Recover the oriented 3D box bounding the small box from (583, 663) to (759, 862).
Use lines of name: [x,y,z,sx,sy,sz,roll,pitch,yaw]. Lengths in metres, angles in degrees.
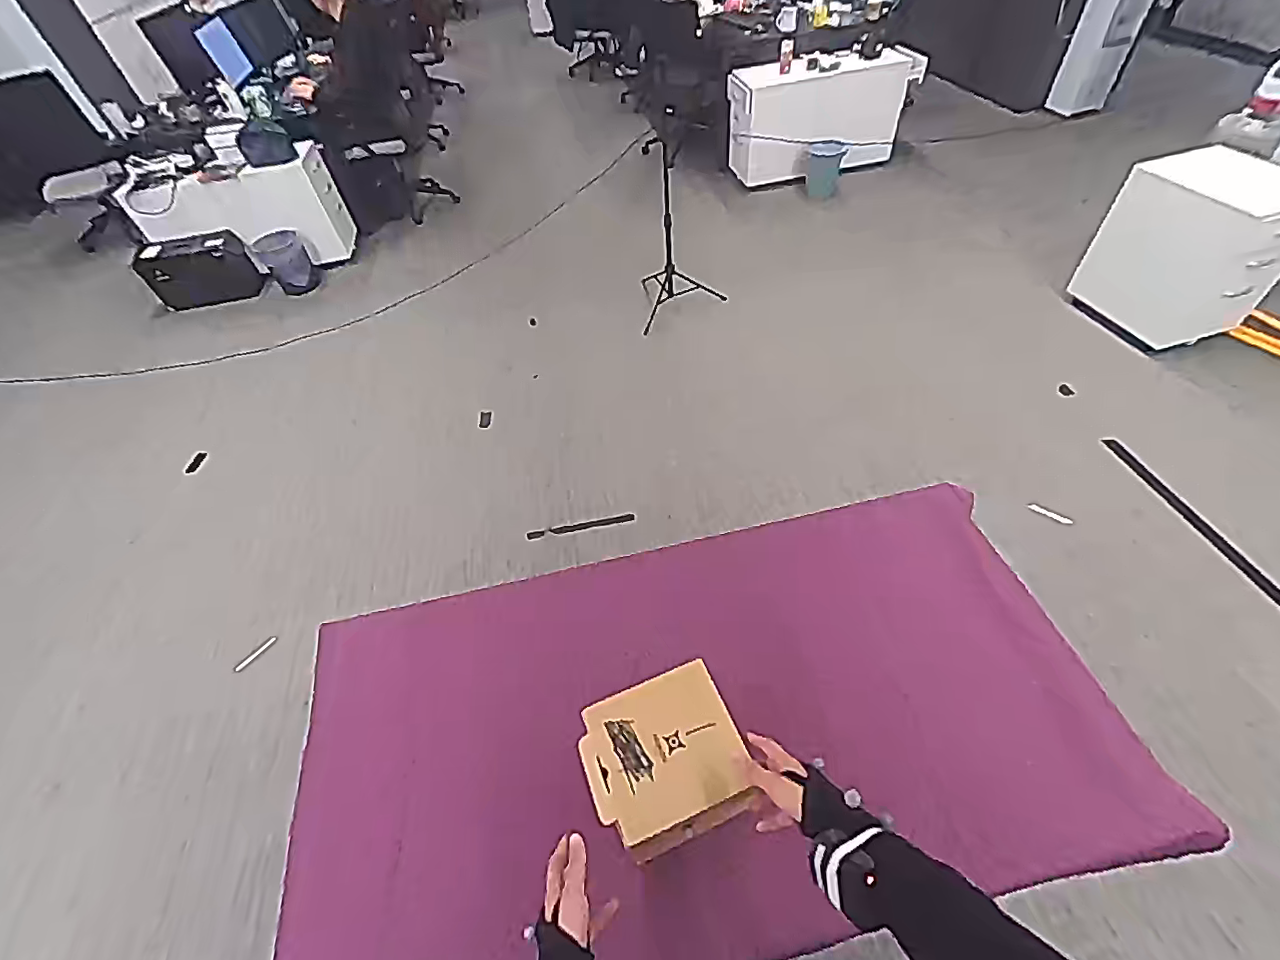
small box: [0.041,0.383,0.729,0.179,0.176,0.168,-20,51,-11]
